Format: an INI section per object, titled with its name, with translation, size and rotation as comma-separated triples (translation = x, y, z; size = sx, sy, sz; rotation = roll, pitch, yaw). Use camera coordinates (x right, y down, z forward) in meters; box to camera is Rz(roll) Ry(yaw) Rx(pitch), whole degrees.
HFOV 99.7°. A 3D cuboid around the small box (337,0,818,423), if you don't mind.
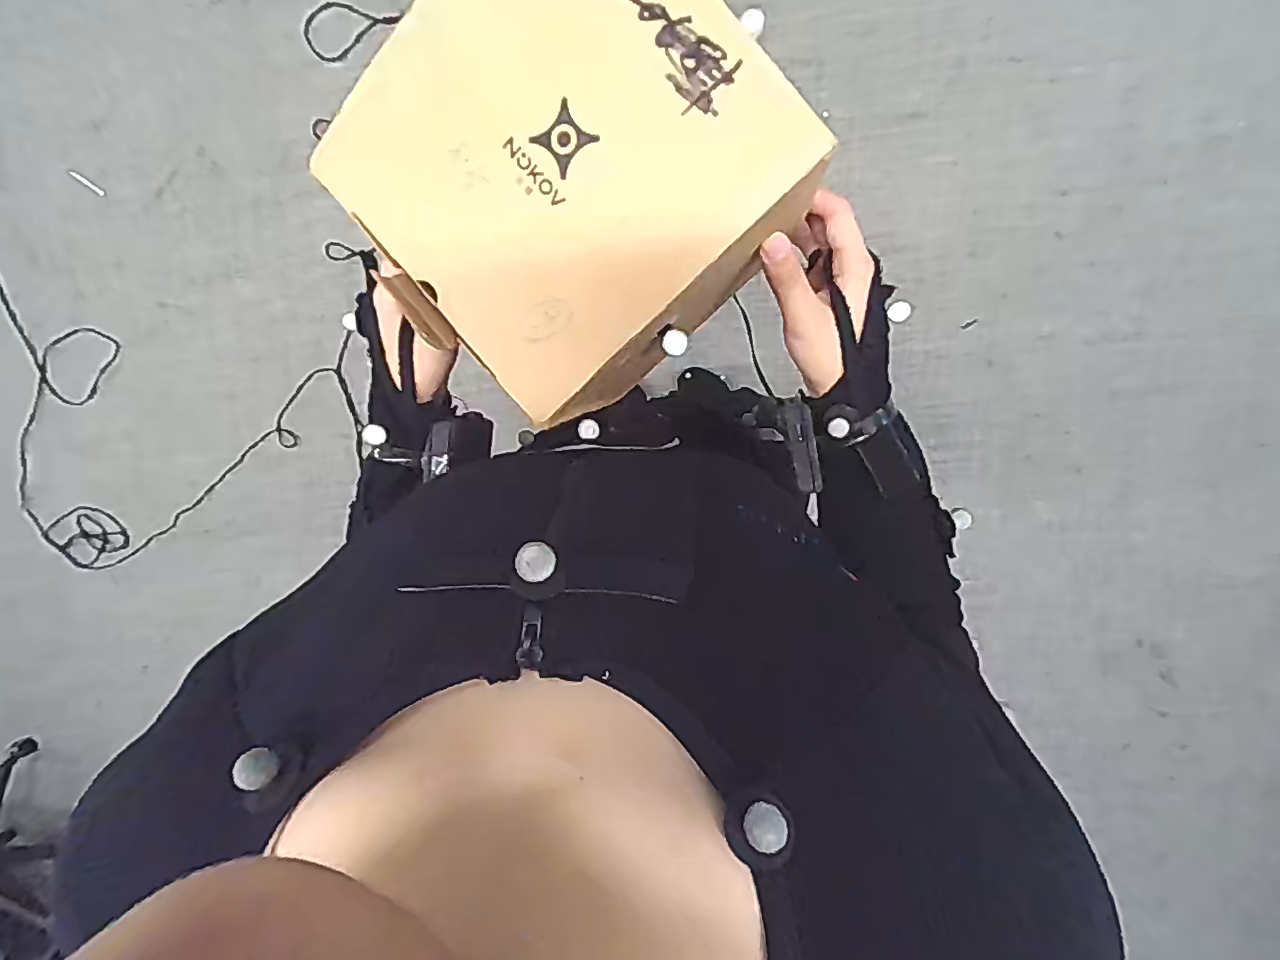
[small box]
translation = -0.022, -0.157, 0.324
size = 0.179, 0.176, 0.168
rotation = -41, 93, 16
